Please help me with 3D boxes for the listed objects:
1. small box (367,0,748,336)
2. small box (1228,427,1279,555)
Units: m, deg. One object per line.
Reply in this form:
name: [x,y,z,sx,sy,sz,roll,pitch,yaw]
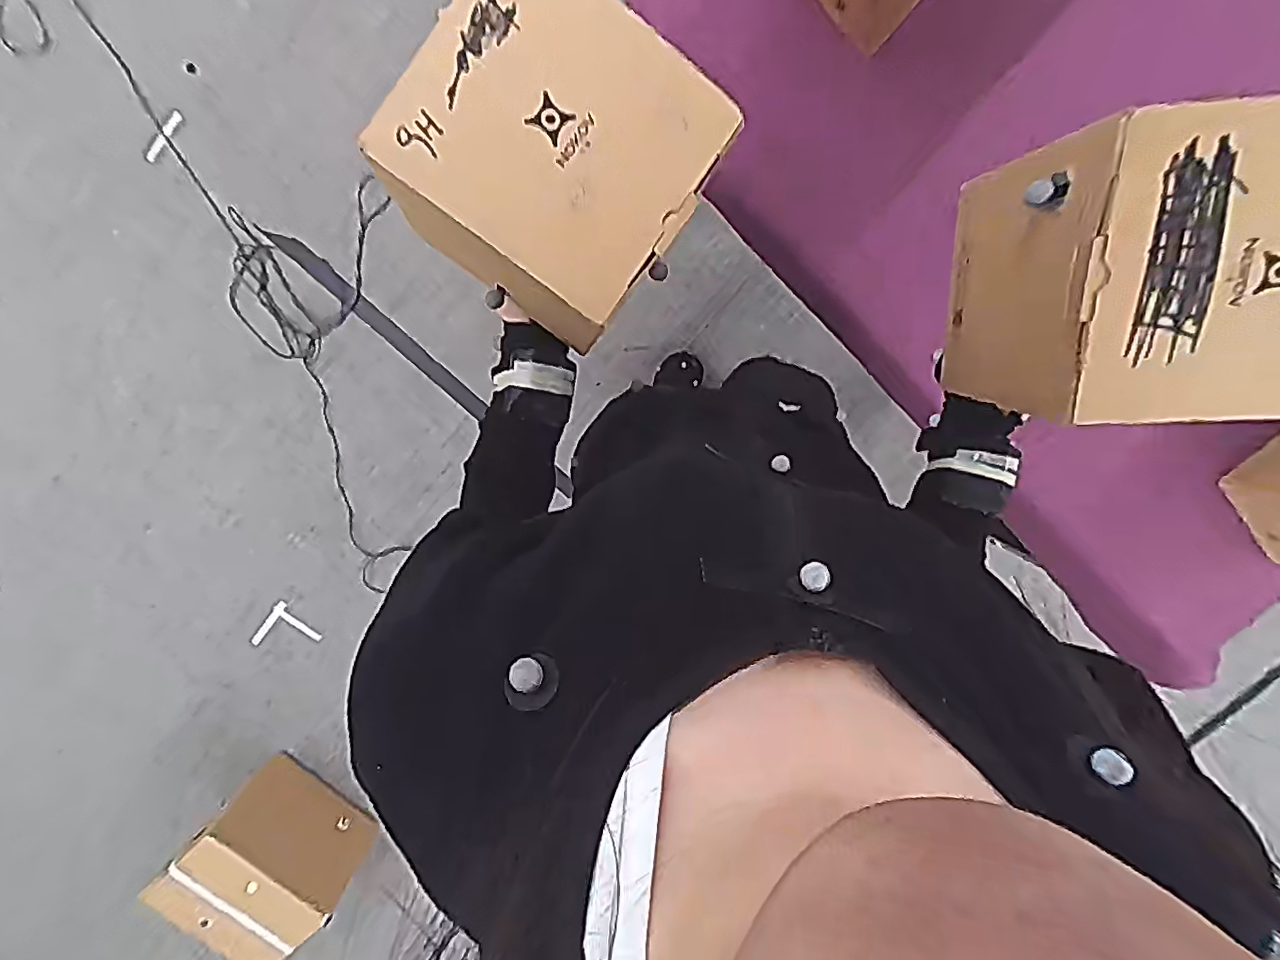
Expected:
small box: [-0.058,-0.225,0.405,0.179,0.176,0.168,33,90,-13]
small box: [0.929,0.014,0.691,0.179,0.176,0.168,-42,100,8]
